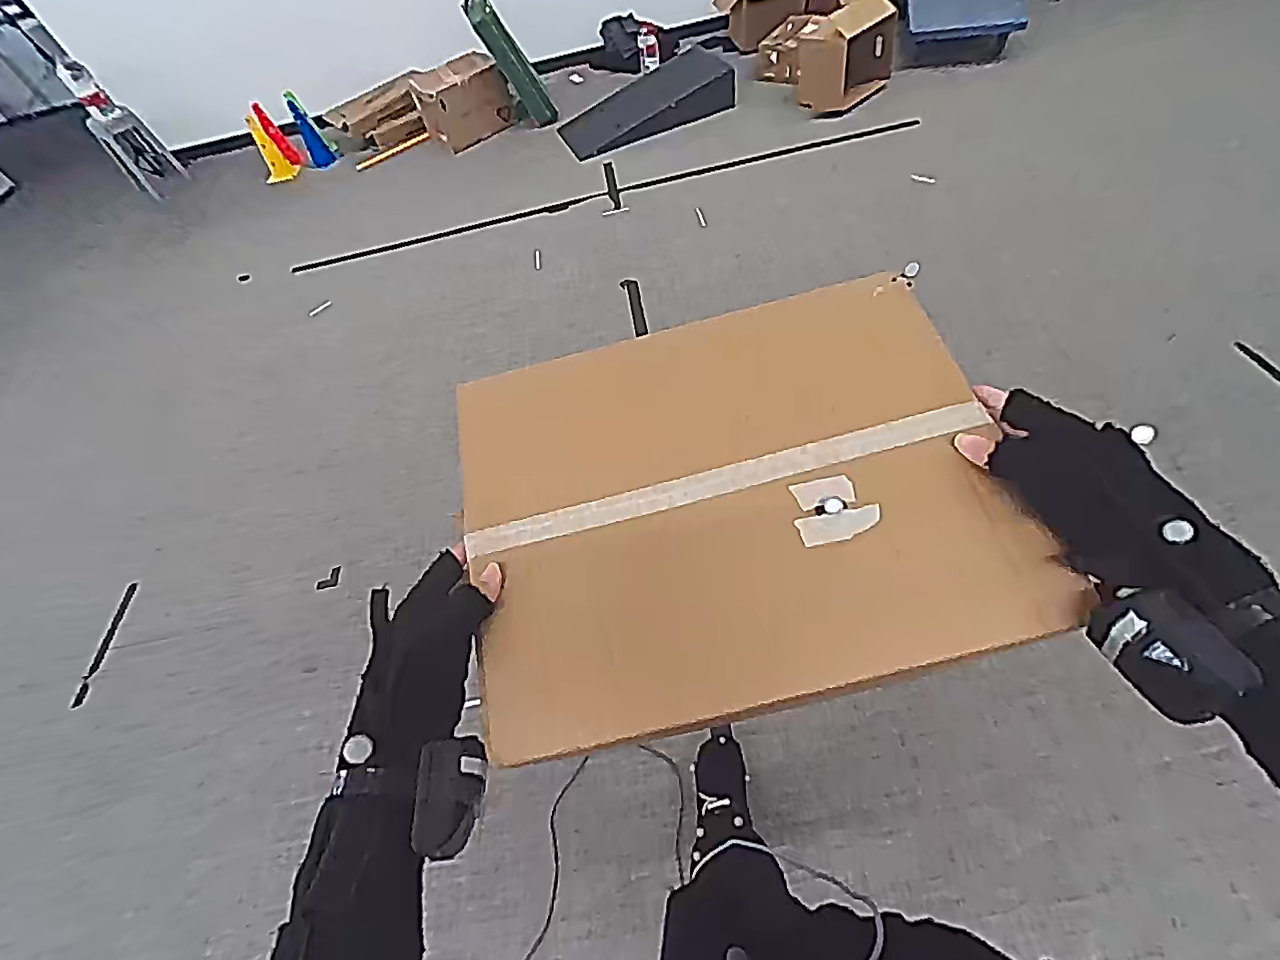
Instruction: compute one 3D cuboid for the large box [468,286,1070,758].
[{"bbox_3d":[0.083,0.069,0.562,0.408,0.320,0.320,-15,64,1],"label":"large box"}]
